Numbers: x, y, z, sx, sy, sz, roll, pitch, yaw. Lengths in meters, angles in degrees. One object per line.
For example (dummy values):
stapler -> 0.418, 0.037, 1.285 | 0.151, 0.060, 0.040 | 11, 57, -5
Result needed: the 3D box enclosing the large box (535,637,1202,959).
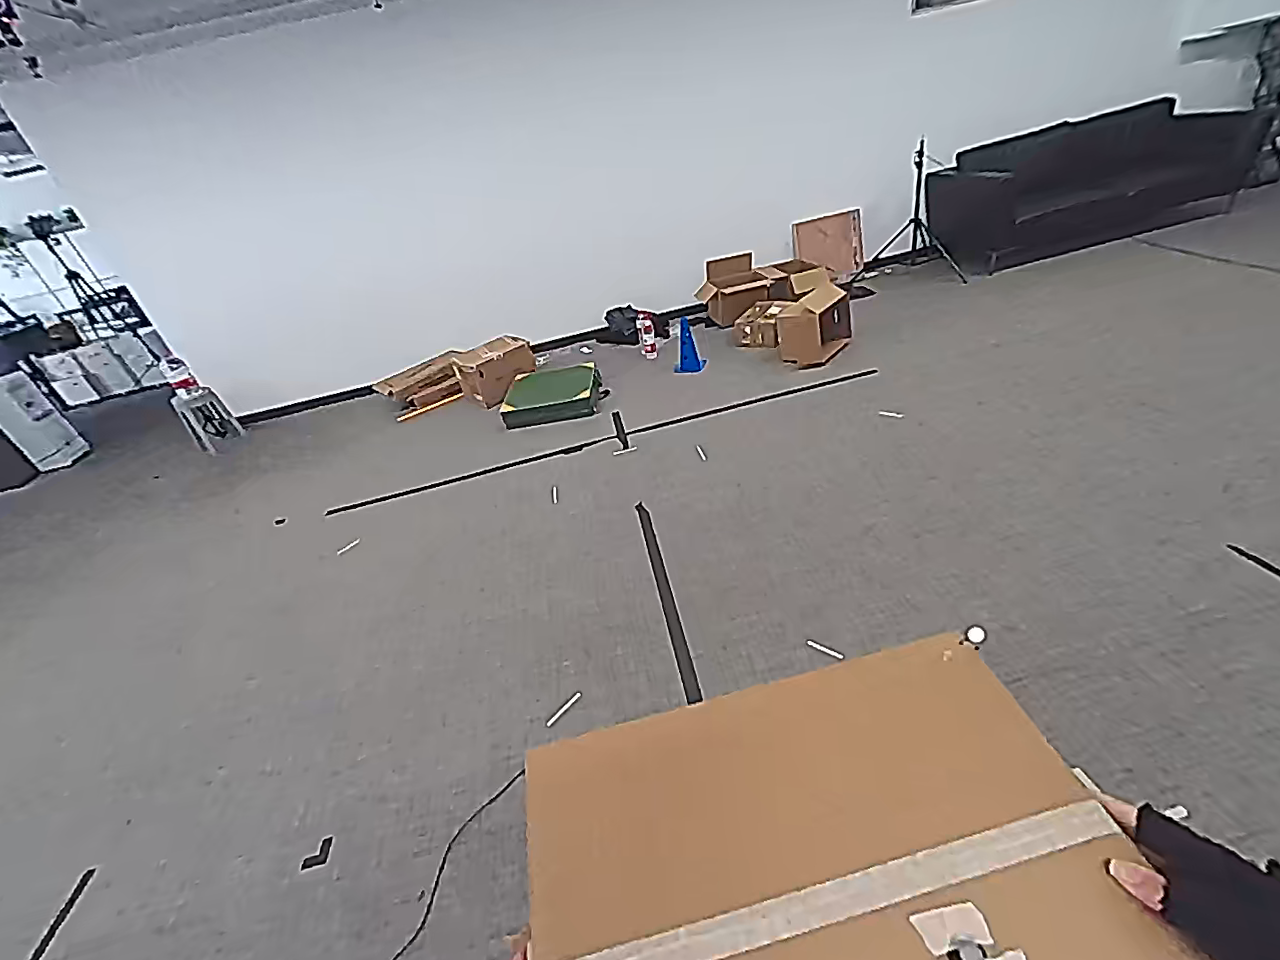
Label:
large box -> 0.151, 0.401, 0.471 | 0.408, 0.320, 0.320 | -14, 41, -4
